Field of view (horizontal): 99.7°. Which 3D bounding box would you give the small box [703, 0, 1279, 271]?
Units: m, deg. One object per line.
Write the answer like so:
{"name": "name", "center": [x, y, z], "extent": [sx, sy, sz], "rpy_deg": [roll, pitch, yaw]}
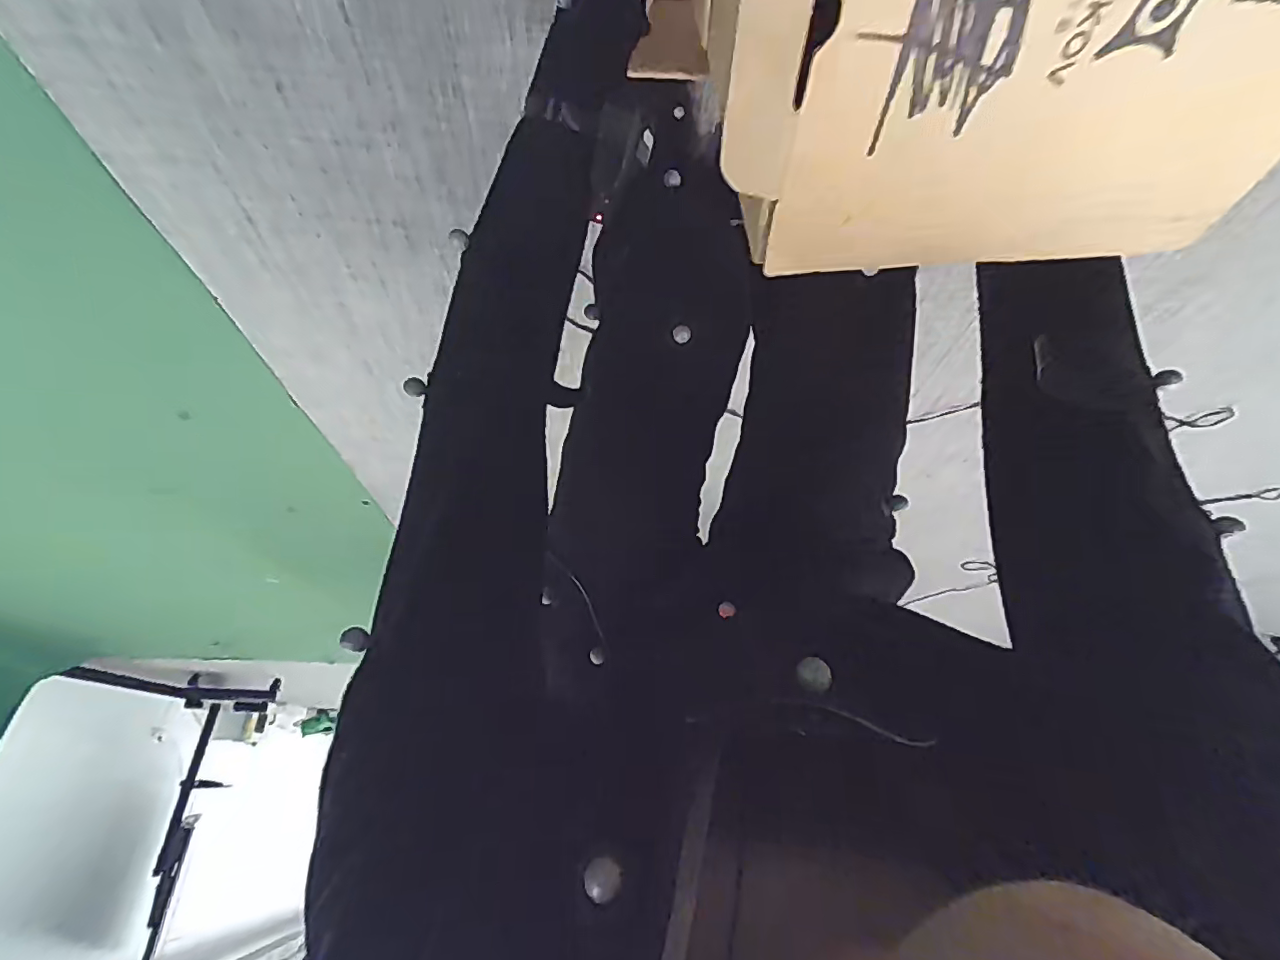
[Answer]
{"name": "small box", "center": [0.119, -0.199, 0.190], "extent": [0.179, 0.176, 0.168], "rpy_deg": [-3, 152, 0]}
